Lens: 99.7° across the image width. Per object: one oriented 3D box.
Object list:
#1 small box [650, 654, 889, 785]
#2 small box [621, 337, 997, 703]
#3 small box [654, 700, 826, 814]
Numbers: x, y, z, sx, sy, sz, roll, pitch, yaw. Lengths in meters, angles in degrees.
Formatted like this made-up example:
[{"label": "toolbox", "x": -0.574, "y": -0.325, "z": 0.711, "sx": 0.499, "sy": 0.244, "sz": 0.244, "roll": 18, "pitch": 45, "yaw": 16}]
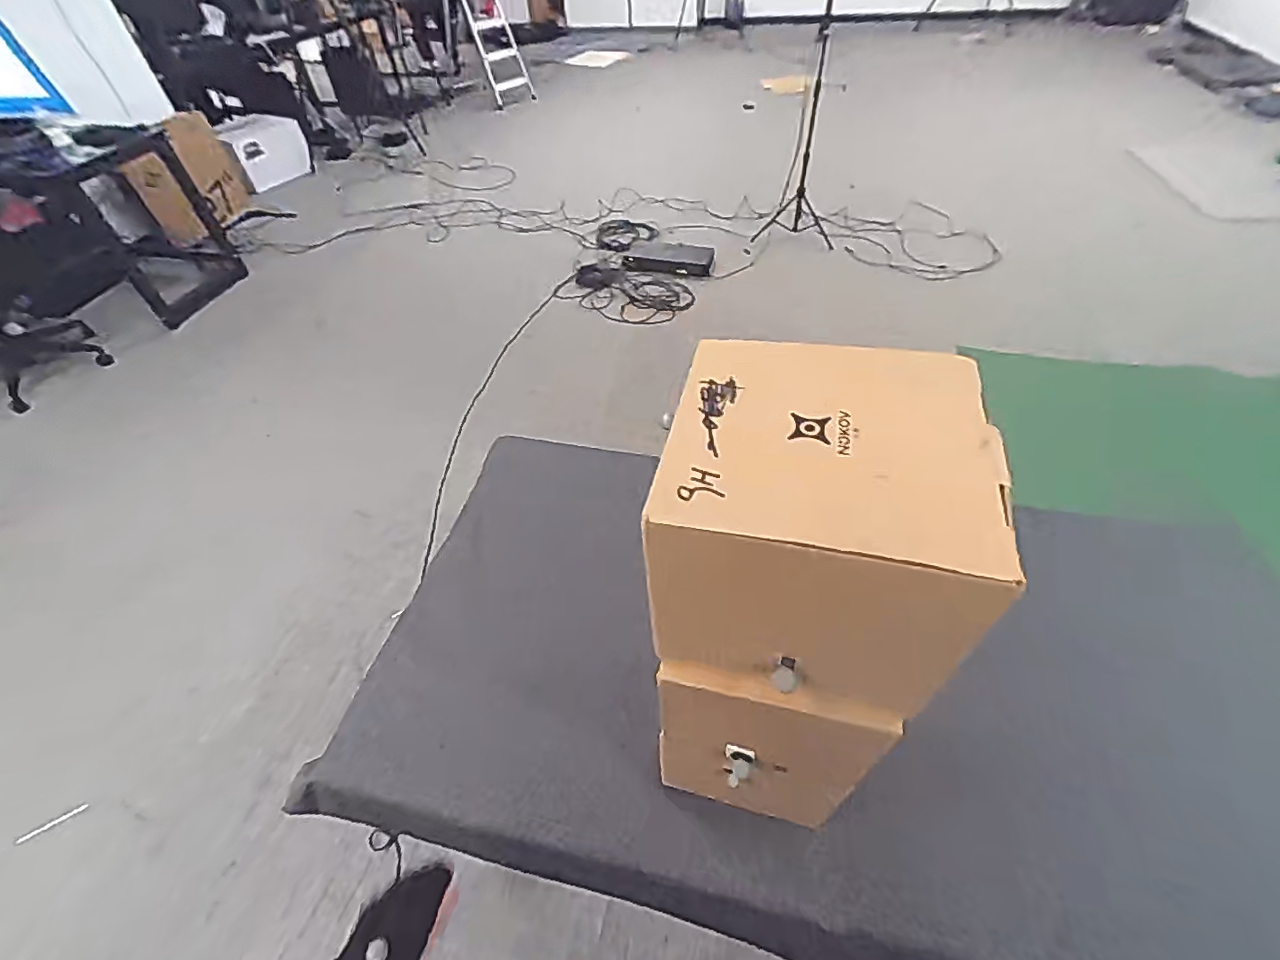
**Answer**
[{"label": "small box", "x": 0.111, "y": 0.141, "z": 0.481, "sx": 0.168, "sy": 0.176, "sz": 0.179, "roll": 7, "pitch": 50, "yaw": 13}, {"label": "small box", "x": 0.100, "y": 0.029, "z": 0.362, "sx": 0.179, "sy": 0.176, "sz": 0.168, "roll": 9, "pitch": 50, "yaw": 13}, {"label": "small box", "x": 0.122, "y": 0.247, "z": 0.602, "sx": 0.179, "sy": 0.176, "sz": 0.168, "roll": 10, "pitch": 50, "yaw": 12}]
